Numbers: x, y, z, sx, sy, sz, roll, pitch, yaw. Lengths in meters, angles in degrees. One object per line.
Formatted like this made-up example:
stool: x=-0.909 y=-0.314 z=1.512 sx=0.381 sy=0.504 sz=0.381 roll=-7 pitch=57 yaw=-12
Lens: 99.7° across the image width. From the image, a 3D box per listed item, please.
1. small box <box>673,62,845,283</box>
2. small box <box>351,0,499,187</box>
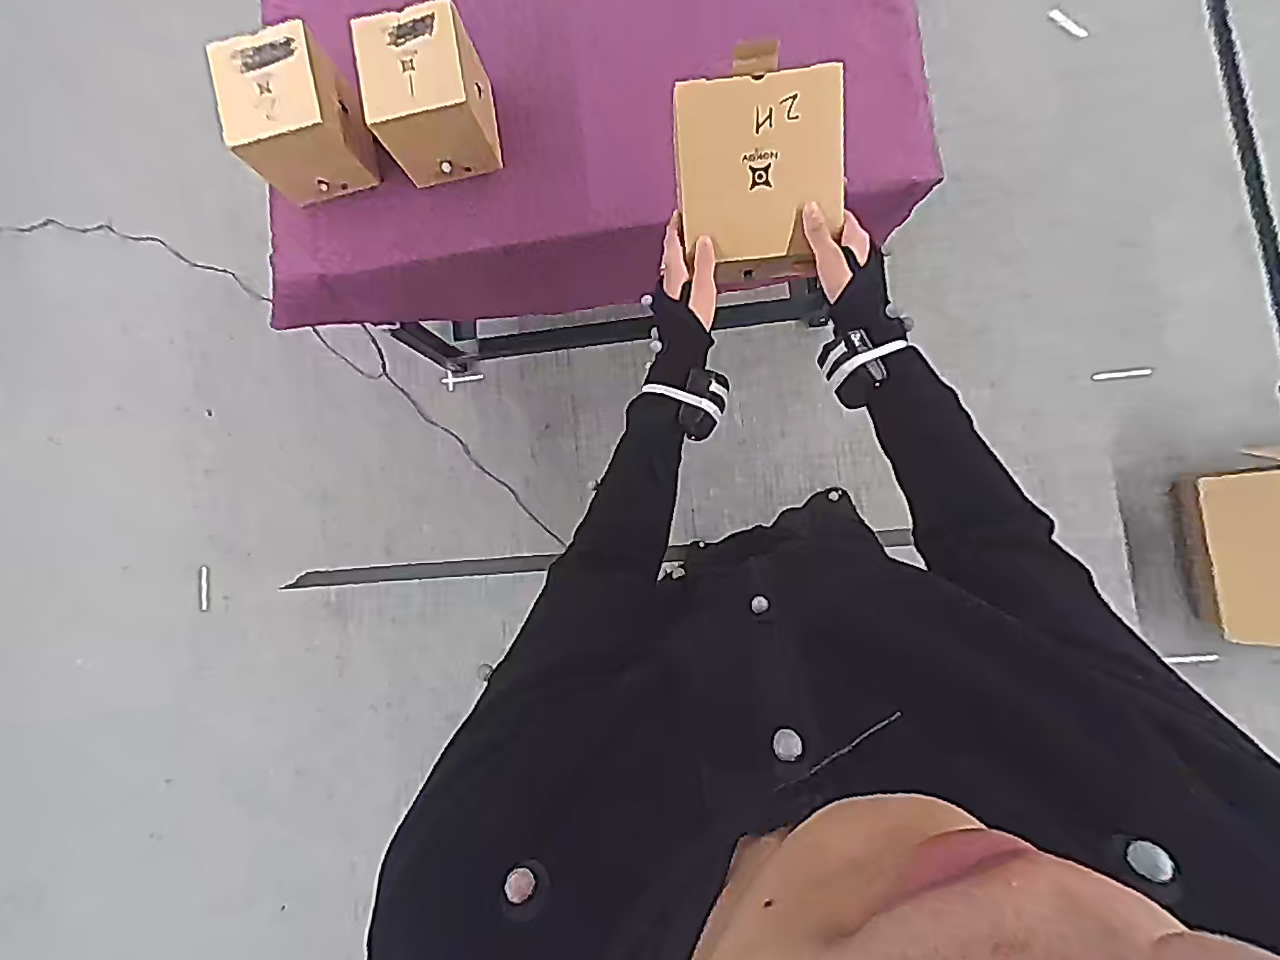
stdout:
small box: x=0.125 y=-0.327 z=0.616 sx=0.168 sy=0.176 sz=0.179 roll=-4 pitch=102 yaw=4
small box: x=-0.352 y=-0.637 z=0.910 sx=0.168 sy=0.176 sz=0.179 roll=-10 pitch=86 yaw=5
